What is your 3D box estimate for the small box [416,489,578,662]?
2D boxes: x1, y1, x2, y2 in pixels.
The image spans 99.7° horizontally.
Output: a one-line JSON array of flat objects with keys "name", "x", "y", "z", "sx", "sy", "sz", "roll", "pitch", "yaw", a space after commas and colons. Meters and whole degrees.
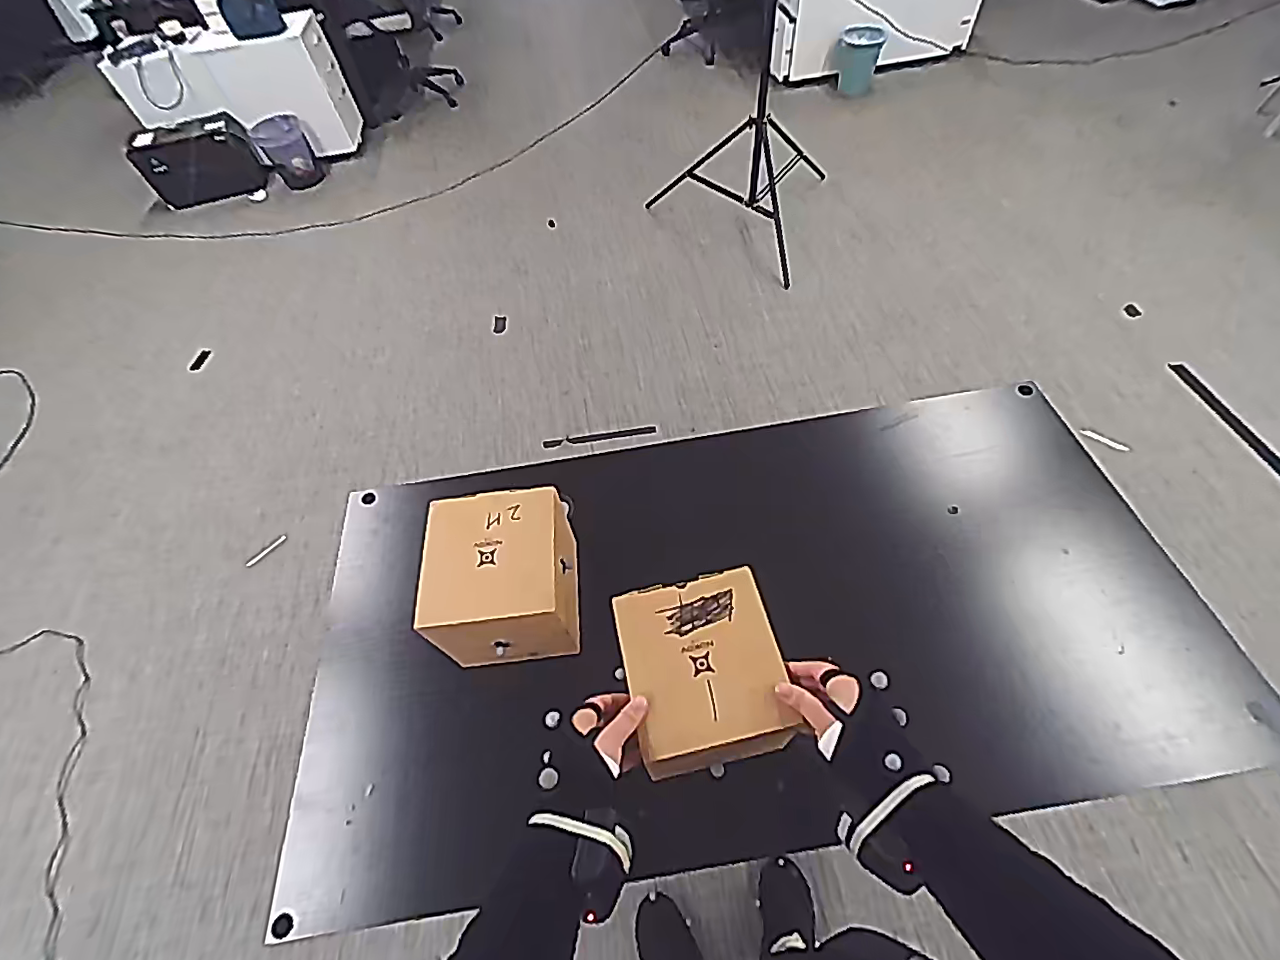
[{"name": "small box", "x": -0.180, "y": 0.137, "z": 0.734, "sx": 0.168, "sy": 0.176, "sz": 0.179, "roll": -8, "pitch": 55, "yaw": 0}]

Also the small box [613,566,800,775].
[{"name": "small box", "x": 0.070, "y": 0.231, "z": 0.644, "sx": 0.168, "sy": 0.176, "sz": 0.179, "roll": -13, "pitch": 56, "yaw": -2}]
